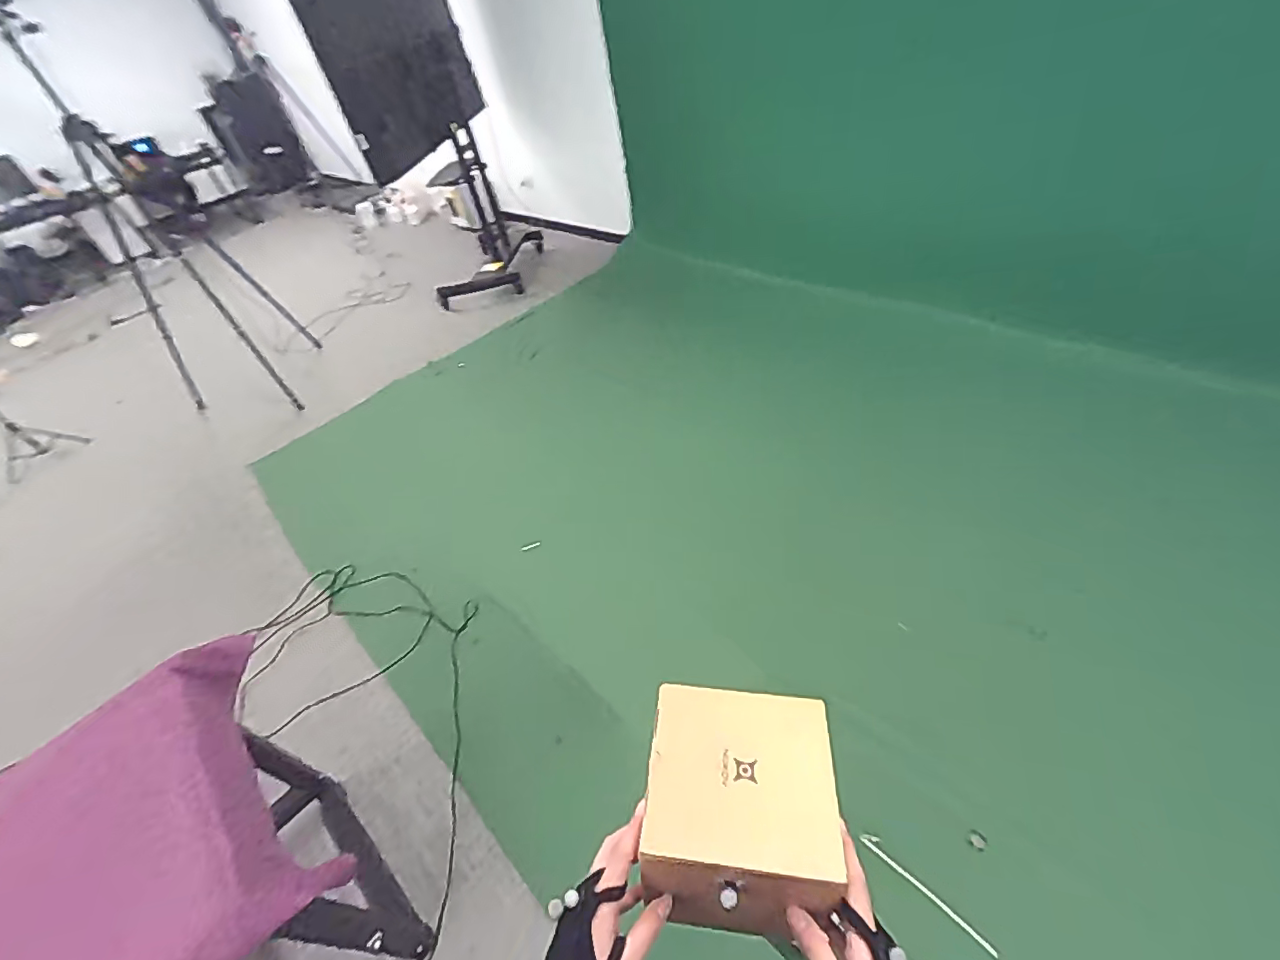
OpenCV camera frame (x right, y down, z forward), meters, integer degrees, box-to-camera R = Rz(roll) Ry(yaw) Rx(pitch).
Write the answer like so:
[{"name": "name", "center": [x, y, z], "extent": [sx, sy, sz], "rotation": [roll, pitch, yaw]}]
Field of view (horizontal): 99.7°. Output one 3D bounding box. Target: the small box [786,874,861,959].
[{"name": "small box", "center": [0.367, 0.936, 1.213], "extent": [0.179, 0.176, 0.168], "rotation": [30, 57, 36]}]

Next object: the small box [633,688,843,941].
[{"name": "small box", "center": [0.095, 0.343, 0.559], "extent": [0.179, 0.176, 0.168], "rotation": [1, 36, 9]}]
